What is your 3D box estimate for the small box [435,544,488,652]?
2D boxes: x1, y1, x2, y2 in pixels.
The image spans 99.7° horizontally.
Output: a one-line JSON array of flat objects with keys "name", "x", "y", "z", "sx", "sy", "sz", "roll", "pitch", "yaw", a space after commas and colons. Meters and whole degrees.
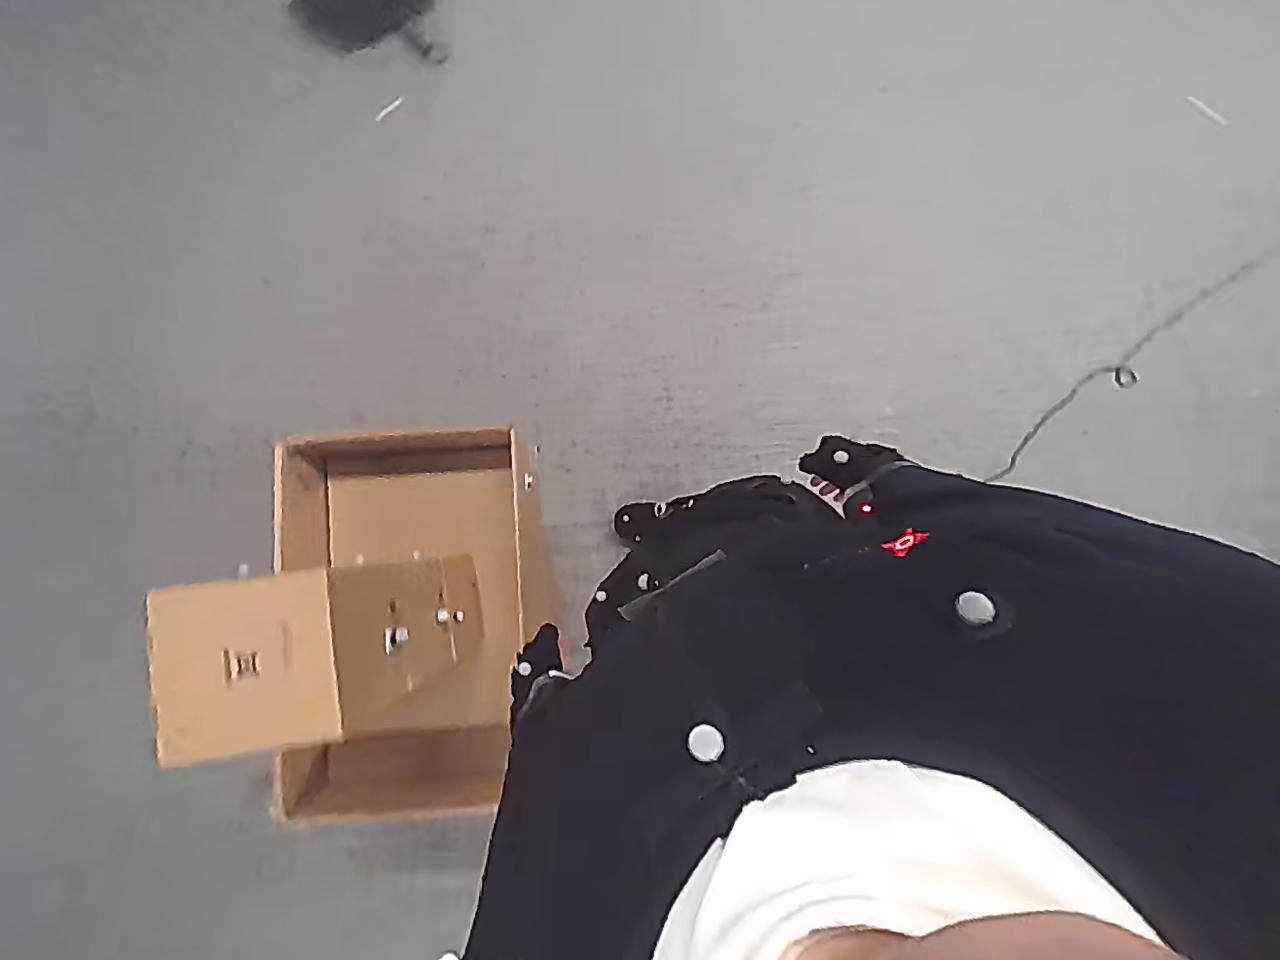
[{"name": "small box", "x": -0.381, "y": 0.205, "z": 0.930, "sx": 0.179, "sy": 0.176, "sz": 0.168, "roll": -10, "pitch": 86, "yaw": -1}]

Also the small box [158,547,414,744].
[{"name": "small box", "x": -0.379, "y": 0.169, "z": 0.607, "sx": 0.179, "sy": 0.176, "sz": 0.168, "roll": -8, "pitch": 87, "yaw": -2}]

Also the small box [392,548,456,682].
[{"name": "small box", "x": -0.382, "y": 0.190, "z": 0.767, "sx": 0.179, "sy": 0.176, "sz": 0.168, "roll": -8, "pitch": 85, "yaw": -2}]
